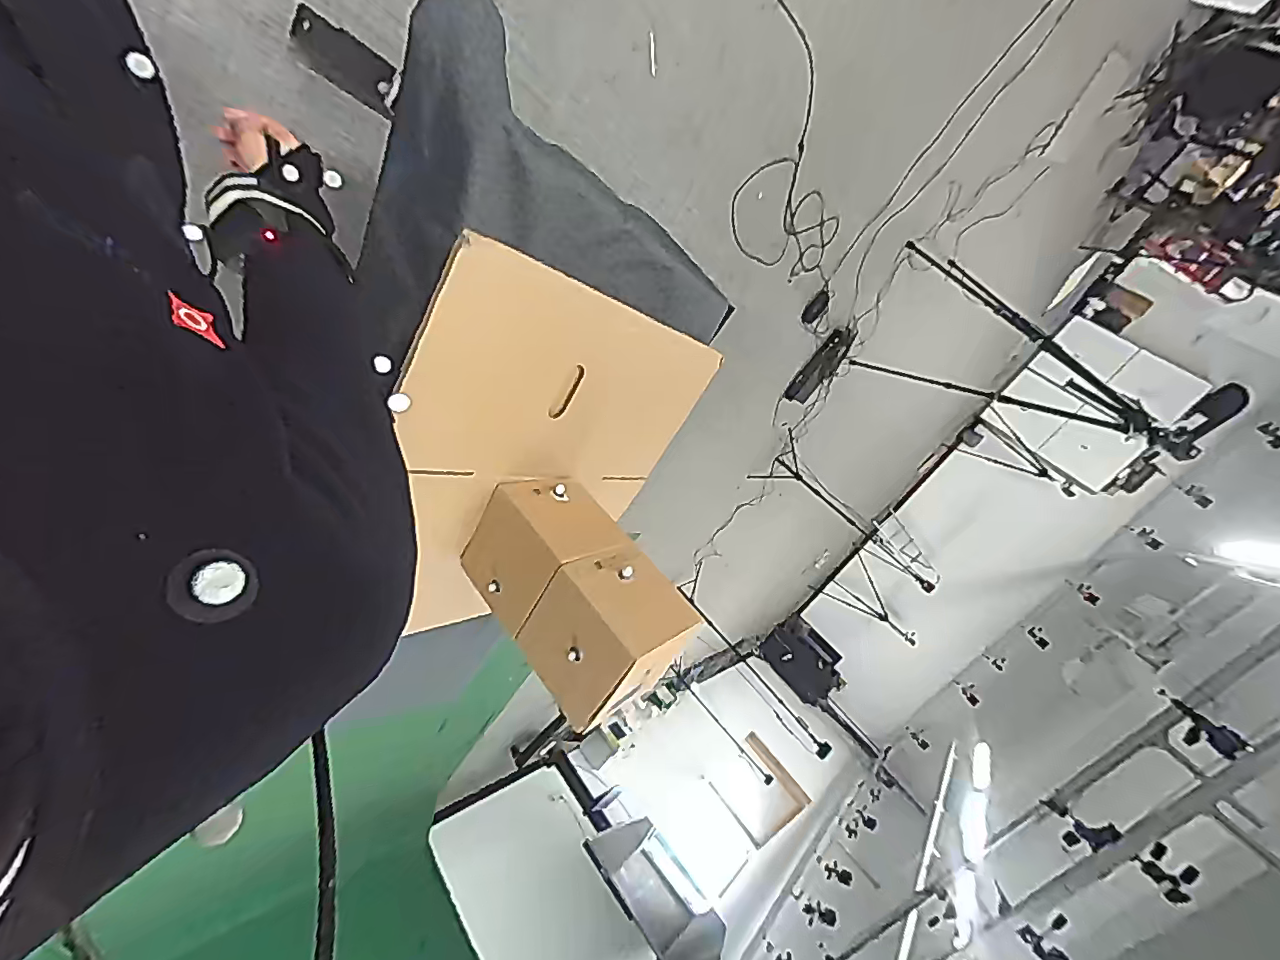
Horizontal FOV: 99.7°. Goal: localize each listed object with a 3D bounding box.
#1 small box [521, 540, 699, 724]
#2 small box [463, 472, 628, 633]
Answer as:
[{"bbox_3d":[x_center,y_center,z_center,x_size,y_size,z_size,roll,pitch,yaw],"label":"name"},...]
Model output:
[{"bbox_3d":[-0.052,0.217,0.809,0.168,0.176,0.179,-10,139,-52],"label":"small box"},{"bbox_3d":[-0.159,0.108,0.873,0.168,0.176,0.179,-9,138,-53],"label":"small box"}]
